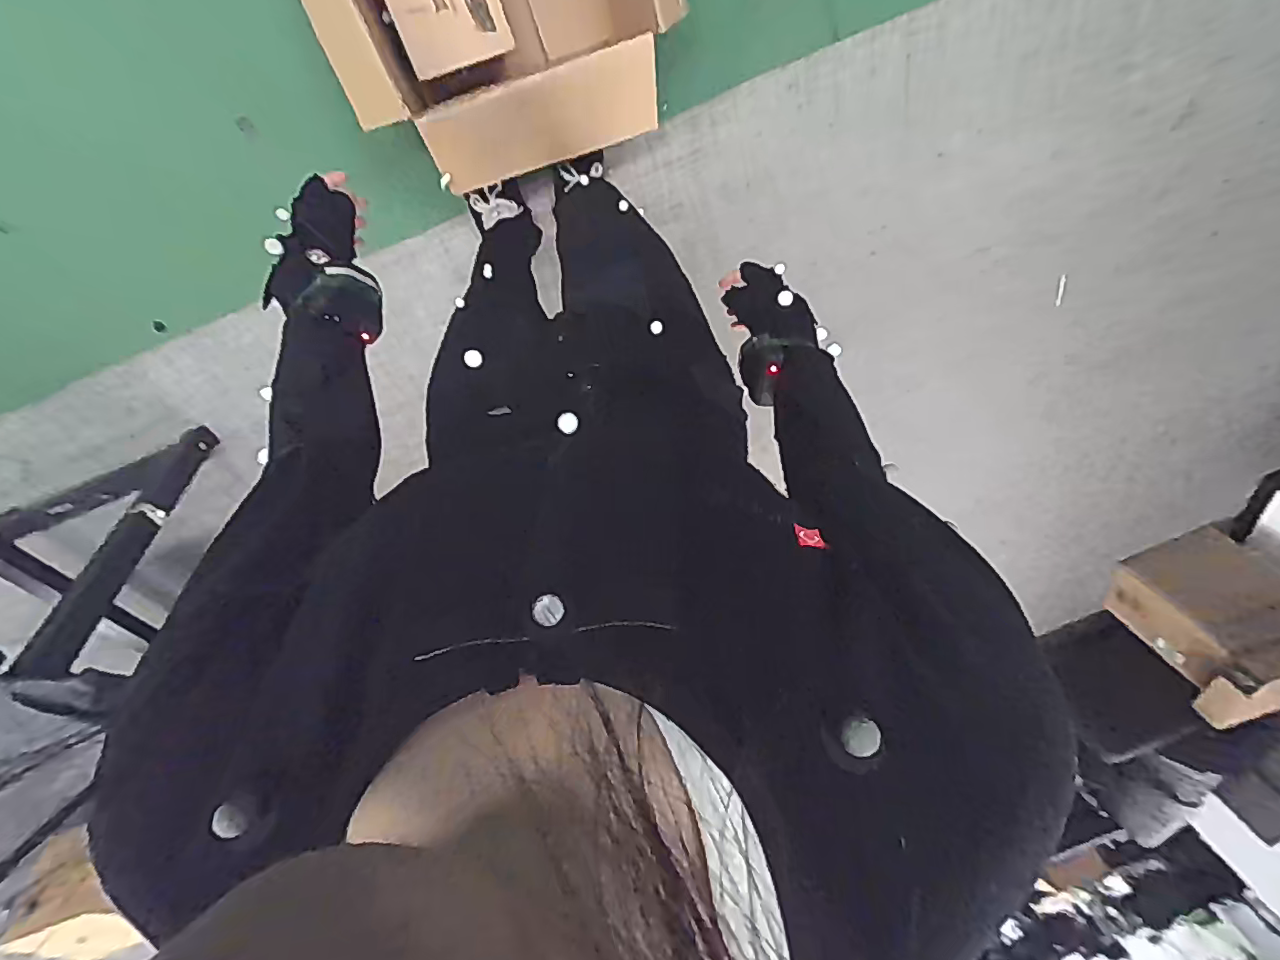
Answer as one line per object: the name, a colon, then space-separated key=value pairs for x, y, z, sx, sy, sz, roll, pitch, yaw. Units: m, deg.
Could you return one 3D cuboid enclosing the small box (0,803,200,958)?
small box: x=-0.966 y=0.728 z=0.987 sx=0.179 sy=0.176 sz=0.168 roll=-22 pitch=132 yaw=0
